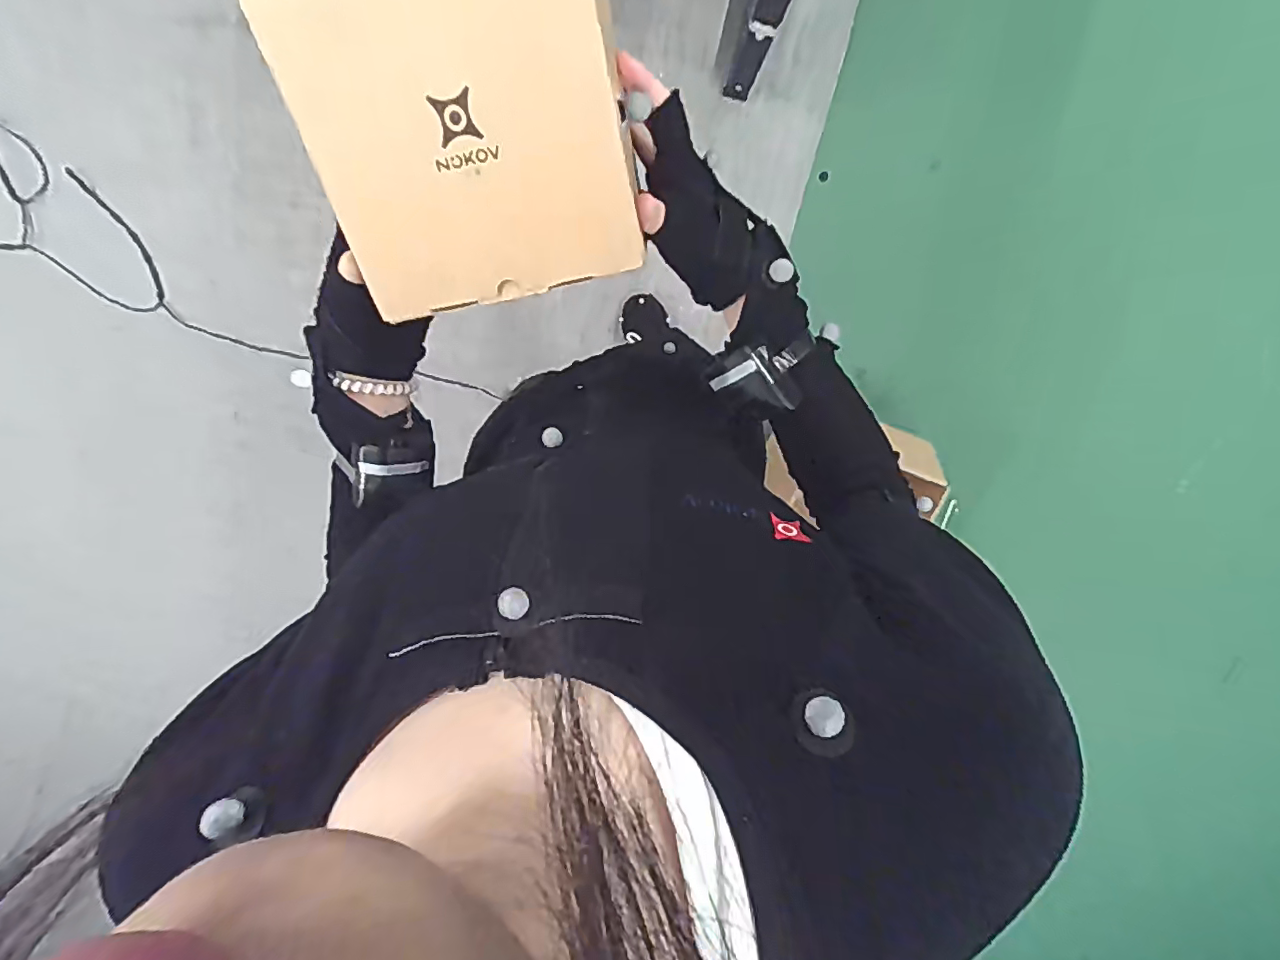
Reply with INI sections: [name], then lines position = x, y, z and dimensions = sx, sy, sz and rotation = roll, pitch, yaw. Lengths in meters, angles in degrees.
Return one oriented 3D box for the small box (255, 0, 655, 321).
[small box]
position = -0.089, -0.225, 0.349
dimensions = 0.168, 0.176, 0.179
rotation = -10, 123, 6
